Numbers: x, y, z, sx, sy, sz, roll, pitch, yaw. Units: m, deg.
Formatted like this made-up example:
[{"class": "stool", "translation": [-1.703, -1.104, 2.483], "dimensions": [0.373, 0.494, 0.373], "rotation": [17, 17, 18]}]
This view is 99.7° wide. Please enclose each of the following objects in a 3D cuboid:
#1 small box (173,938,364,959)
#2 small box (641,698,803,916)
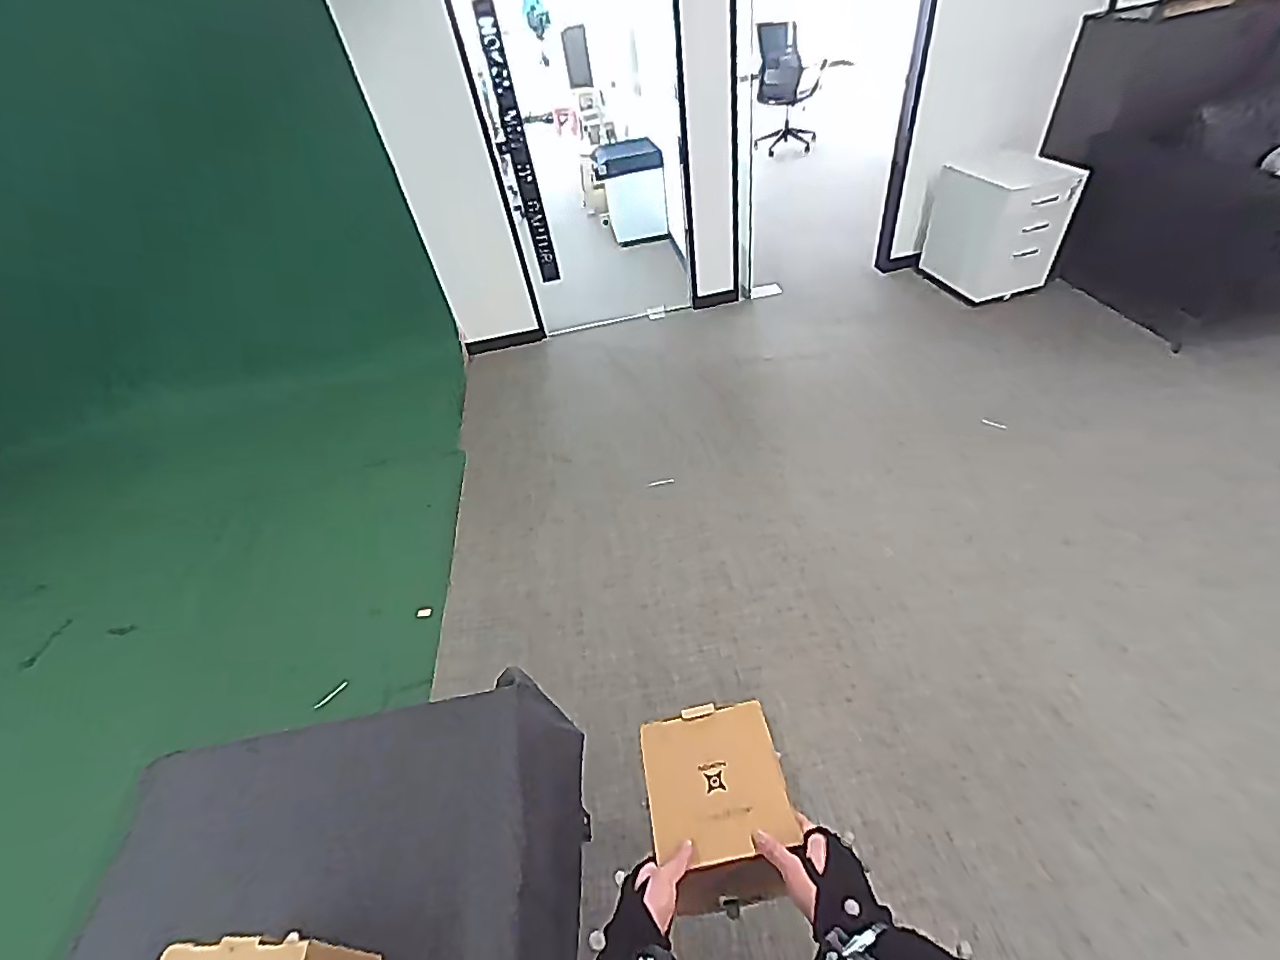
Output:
[{"class": "small box", "translation": [-0.414, 0.616, 0.577], "dimensions": [0.168, 0.176, 0.179], "rotation": [-5, 43, 6]}, {"class": "small box", "translation": [0.101, 0.413, 0.689], "dimensions": [0.168, 0.176, 0.179], "rotation": [-12, 36, 3]}]
